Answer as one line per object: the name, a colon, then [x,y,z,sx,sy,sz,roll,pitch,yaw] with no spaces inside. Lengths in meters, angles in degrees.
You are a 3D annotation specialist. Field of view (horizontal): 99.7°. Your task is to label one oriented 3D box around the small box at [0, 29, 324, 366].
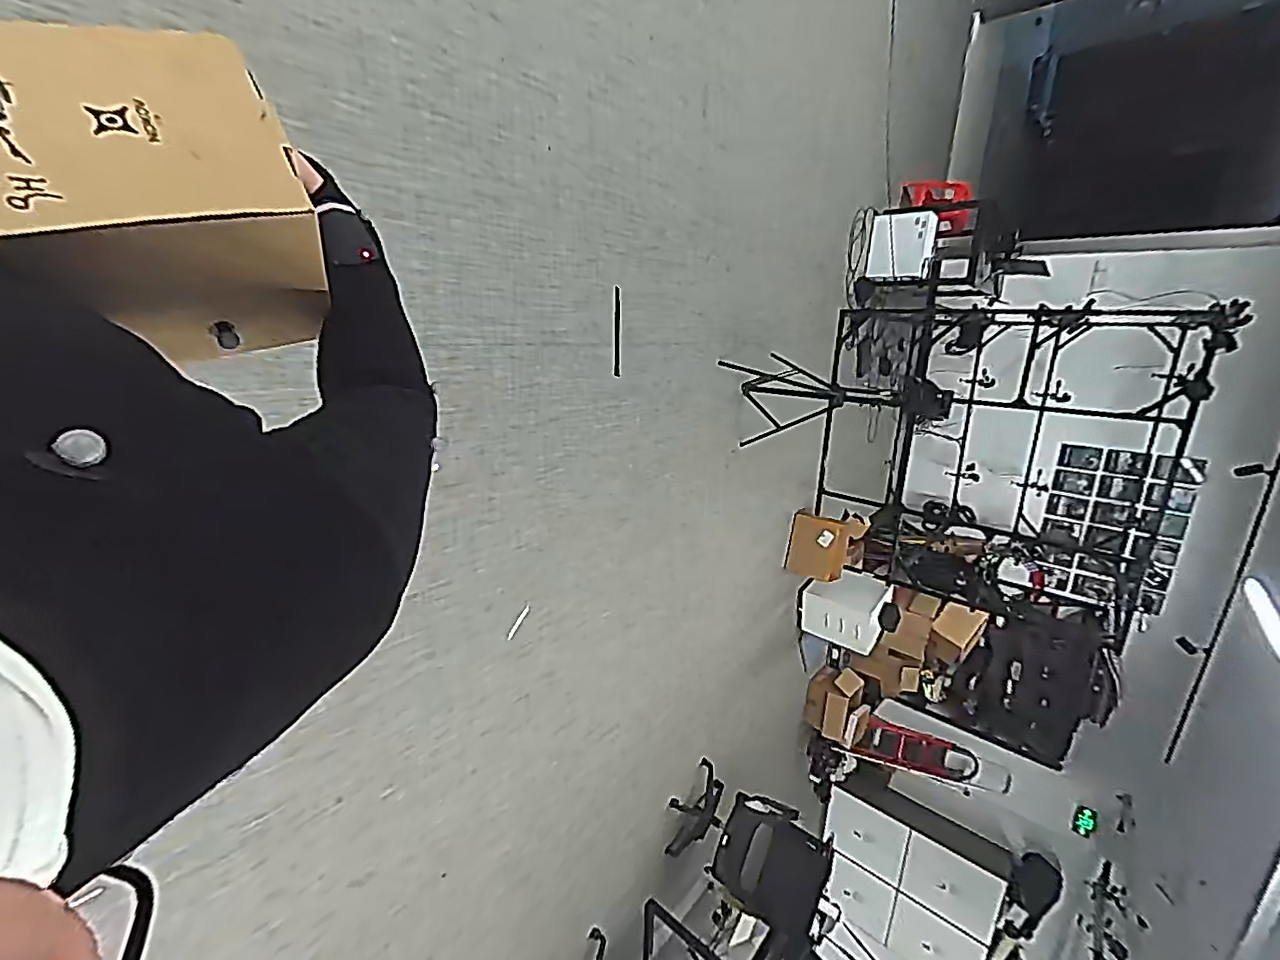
small box: [-0.384,-0.219,0.450,0.179,0.176,0.168,-23,81,-30]
